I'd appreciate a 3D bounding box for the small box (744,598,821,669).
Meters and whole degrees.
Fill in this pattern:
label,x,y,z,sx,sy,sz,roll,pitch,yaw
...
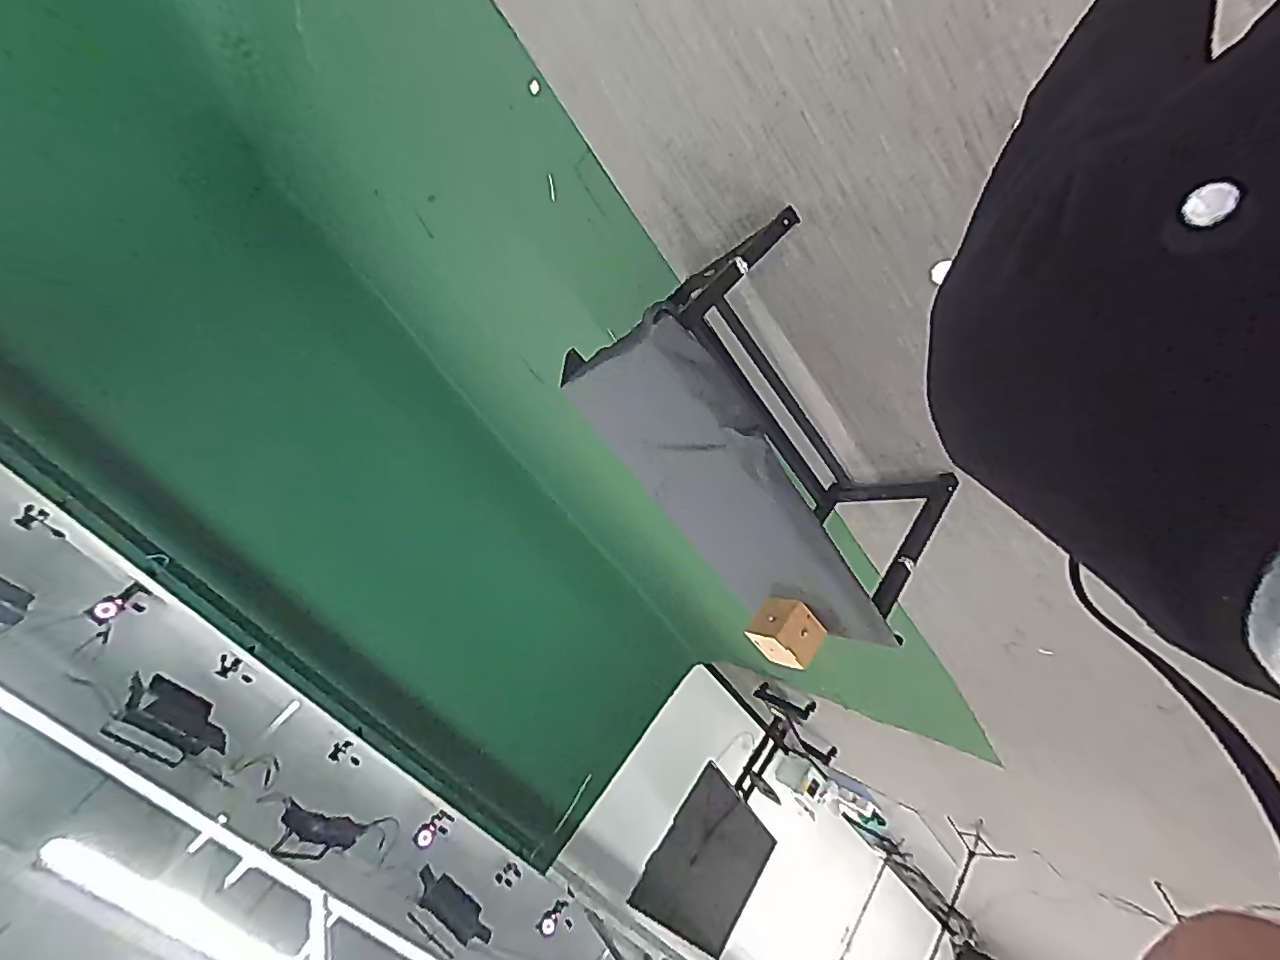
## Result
label,x,y,z,sx,sy,sz,roll,pitch,yaw
small box,0.509,0.534,1.903,0.168,0.176,0.179,49,155,-13
